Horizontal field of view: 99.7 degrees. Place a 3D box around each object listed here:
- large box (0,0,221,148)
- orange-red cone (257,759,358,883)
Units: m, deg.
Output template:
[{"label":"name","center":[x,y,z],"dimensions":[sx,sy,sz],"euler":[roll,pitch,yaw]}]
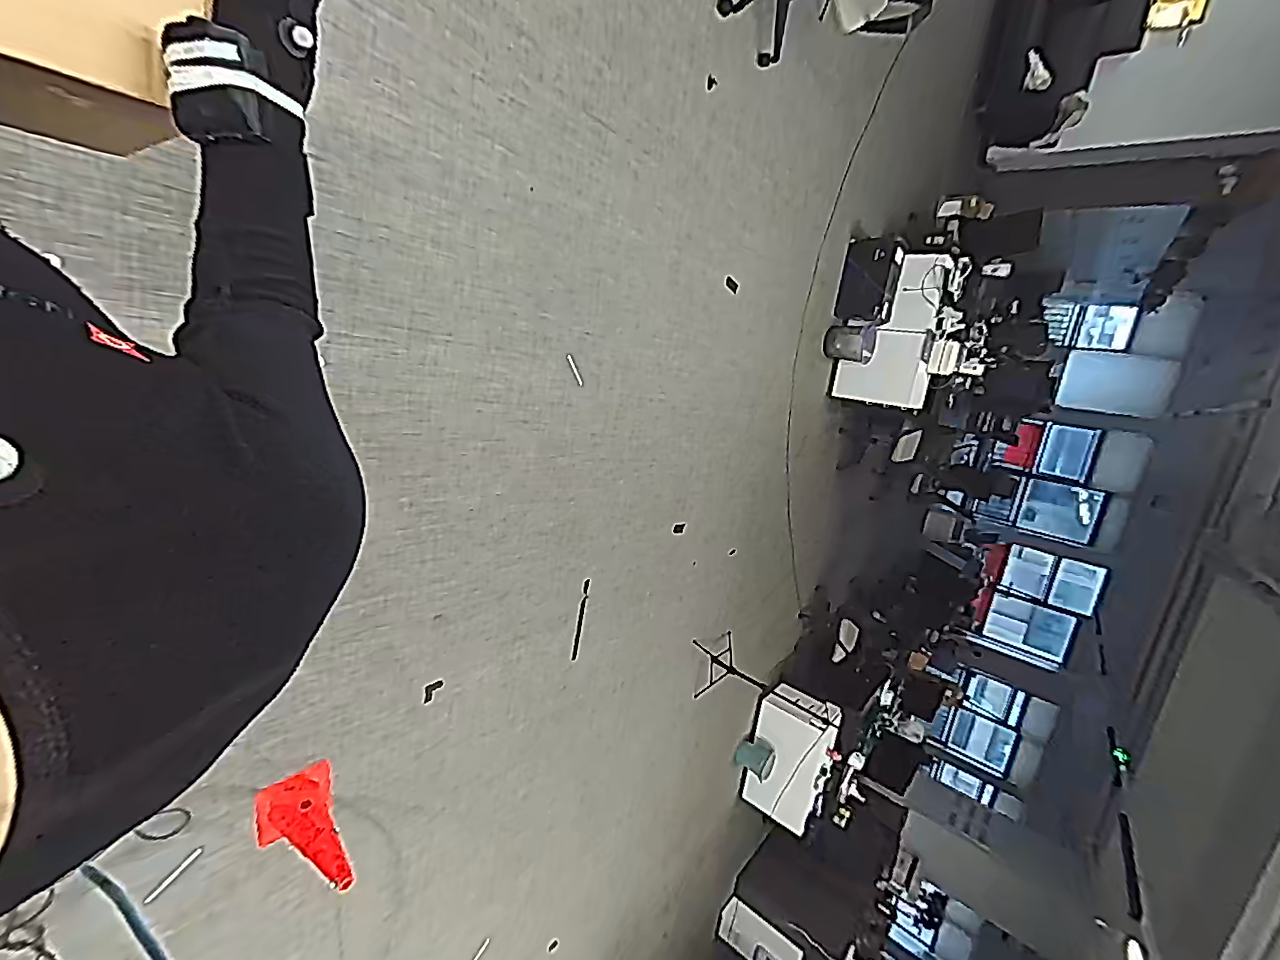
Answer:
[{"label":"large box","center":[-0.534,-0.431,0.296],"dimensions":[0.408,0.320,0.320],"euler":[-11,114,-52]},{"label":"orange-red cone","center":[-0.893,0.994,1.513],"dimensions":[0.198,0.360,0.199],"euler":[-11,111,-51]}]
